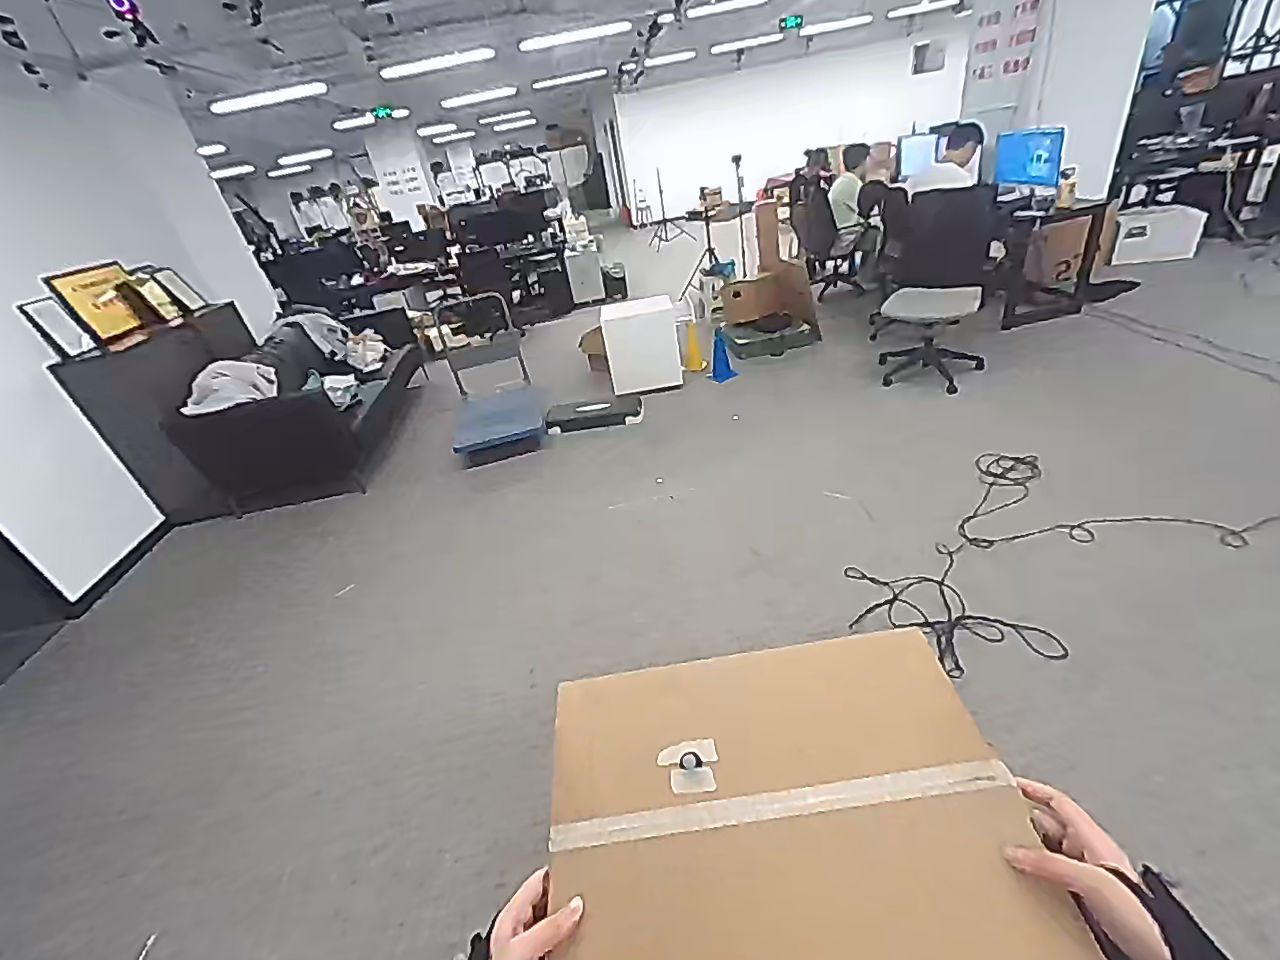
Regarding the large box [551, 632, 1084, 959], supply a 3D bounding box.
[{"bbox_3d":[0.145,0.414,0.587,0.408,0.320,0.320,-12,39,4],"label":"large box"}]
